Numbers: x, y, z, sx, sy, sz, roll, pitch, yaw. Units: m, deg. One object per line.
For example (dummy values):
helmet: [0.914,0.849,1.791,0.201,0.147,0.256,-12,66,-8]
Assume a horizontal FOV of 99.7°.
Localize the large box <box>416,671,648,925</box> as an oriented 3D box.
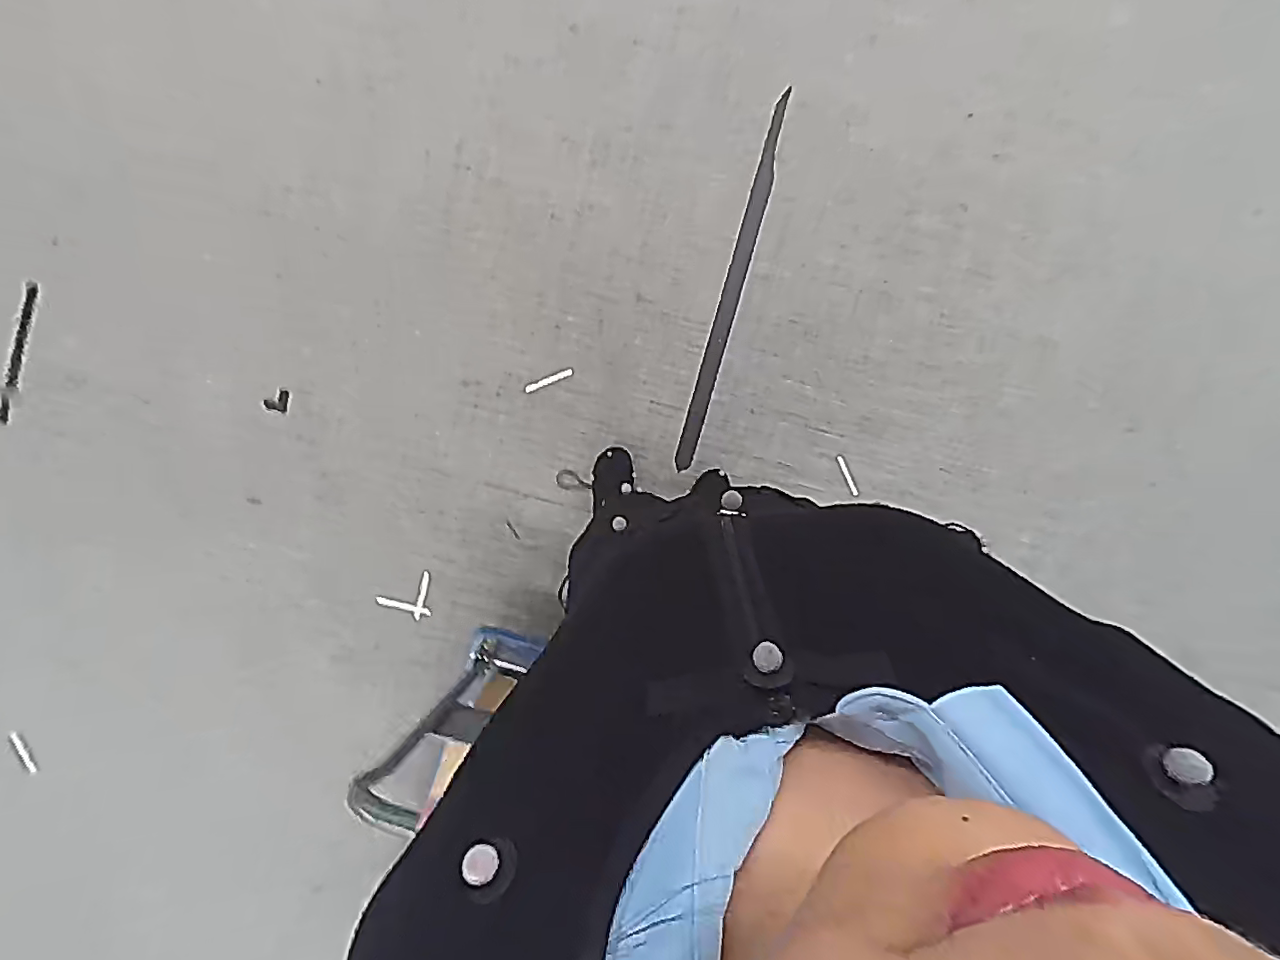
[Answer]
large box: [-0.214,0.683,1.220,0.408,0.320,0.320,17,93,1]
